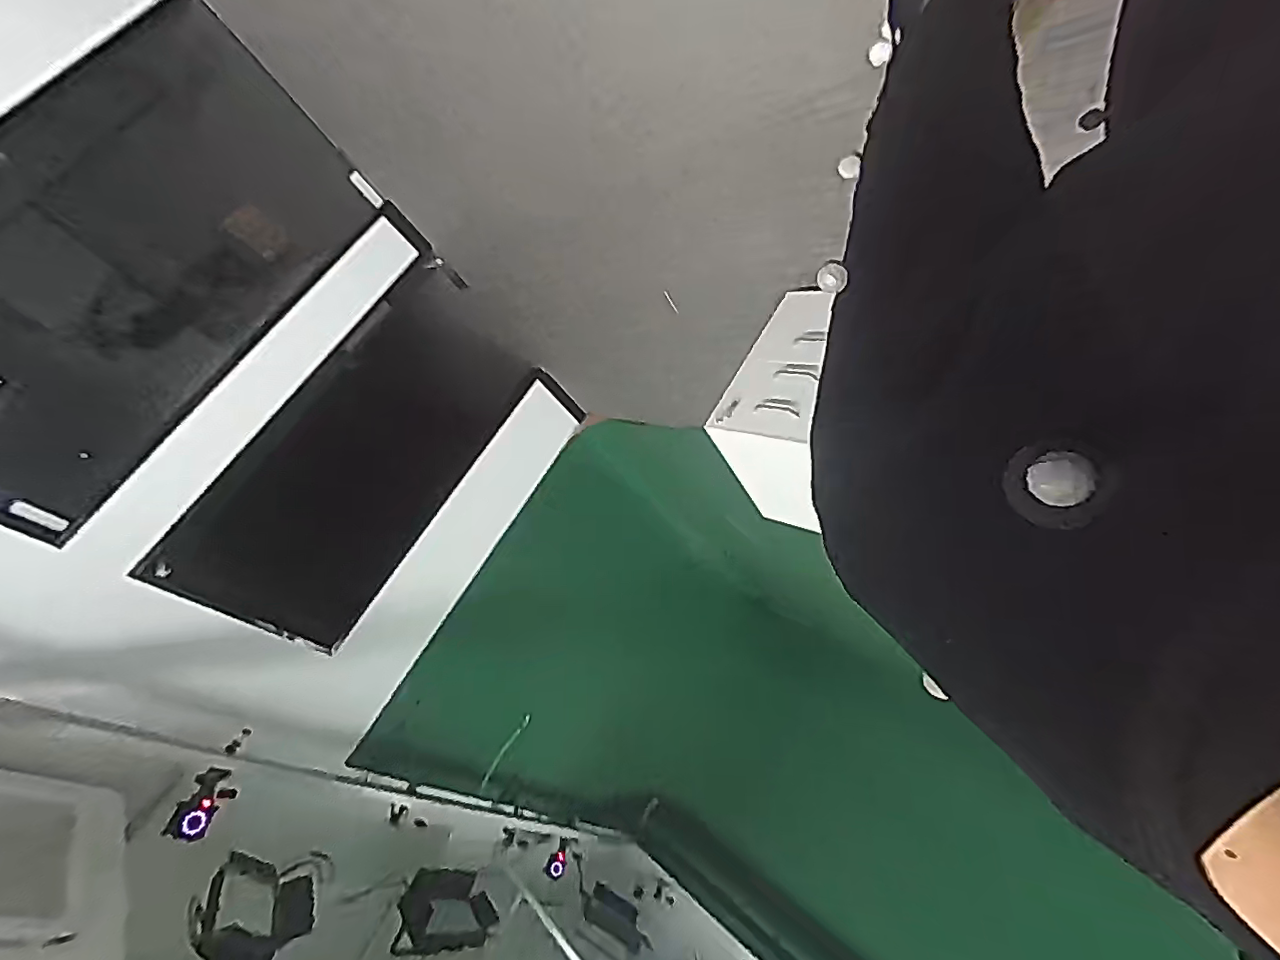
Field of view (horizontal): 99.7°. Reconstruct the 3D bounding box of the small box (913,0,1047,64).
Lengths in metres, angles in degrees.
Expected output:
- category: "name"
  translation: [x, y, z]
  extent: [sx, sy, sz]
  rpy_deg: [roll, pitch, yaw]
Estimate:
- category: "small box"
  translation: [0.332, -0.528, 0.469]
  extent: [0.168, 0.176, 0.179]
  rpy_deg: [45, -151, 7]
